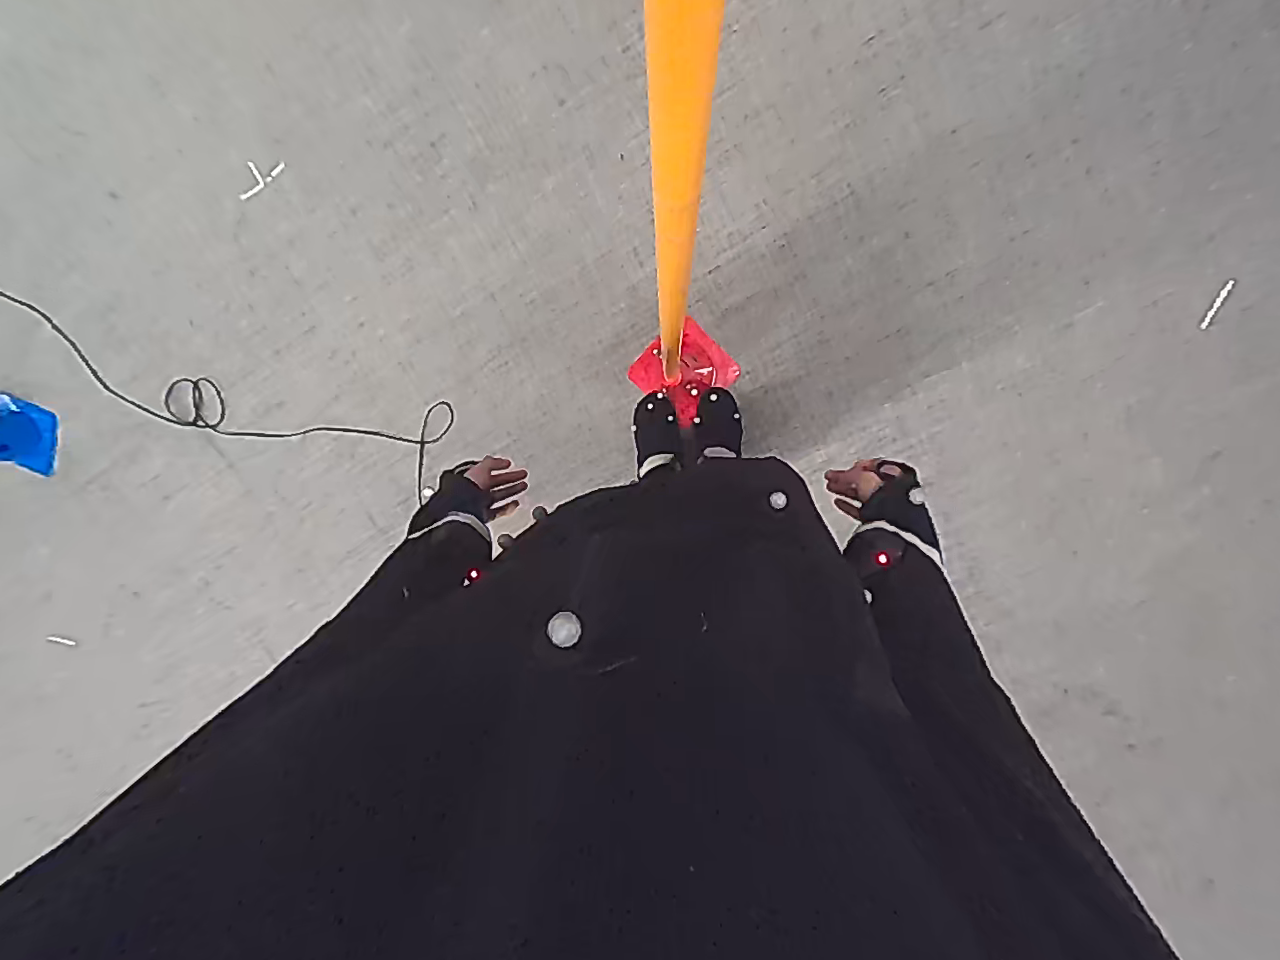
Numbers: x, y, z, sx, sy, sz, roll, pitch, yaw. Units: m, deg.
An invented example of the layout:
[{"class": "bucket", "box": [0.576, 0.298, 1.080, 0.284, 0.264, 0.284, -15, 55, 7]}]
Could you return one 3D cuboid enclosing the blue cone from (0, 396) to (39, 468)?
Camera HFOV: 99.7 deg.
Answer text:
[{"class": "blue cone", "box": [-1.785, -0.099, 1.347, 0.192, 0.380, 0.193, 21, 106, 2]}]
